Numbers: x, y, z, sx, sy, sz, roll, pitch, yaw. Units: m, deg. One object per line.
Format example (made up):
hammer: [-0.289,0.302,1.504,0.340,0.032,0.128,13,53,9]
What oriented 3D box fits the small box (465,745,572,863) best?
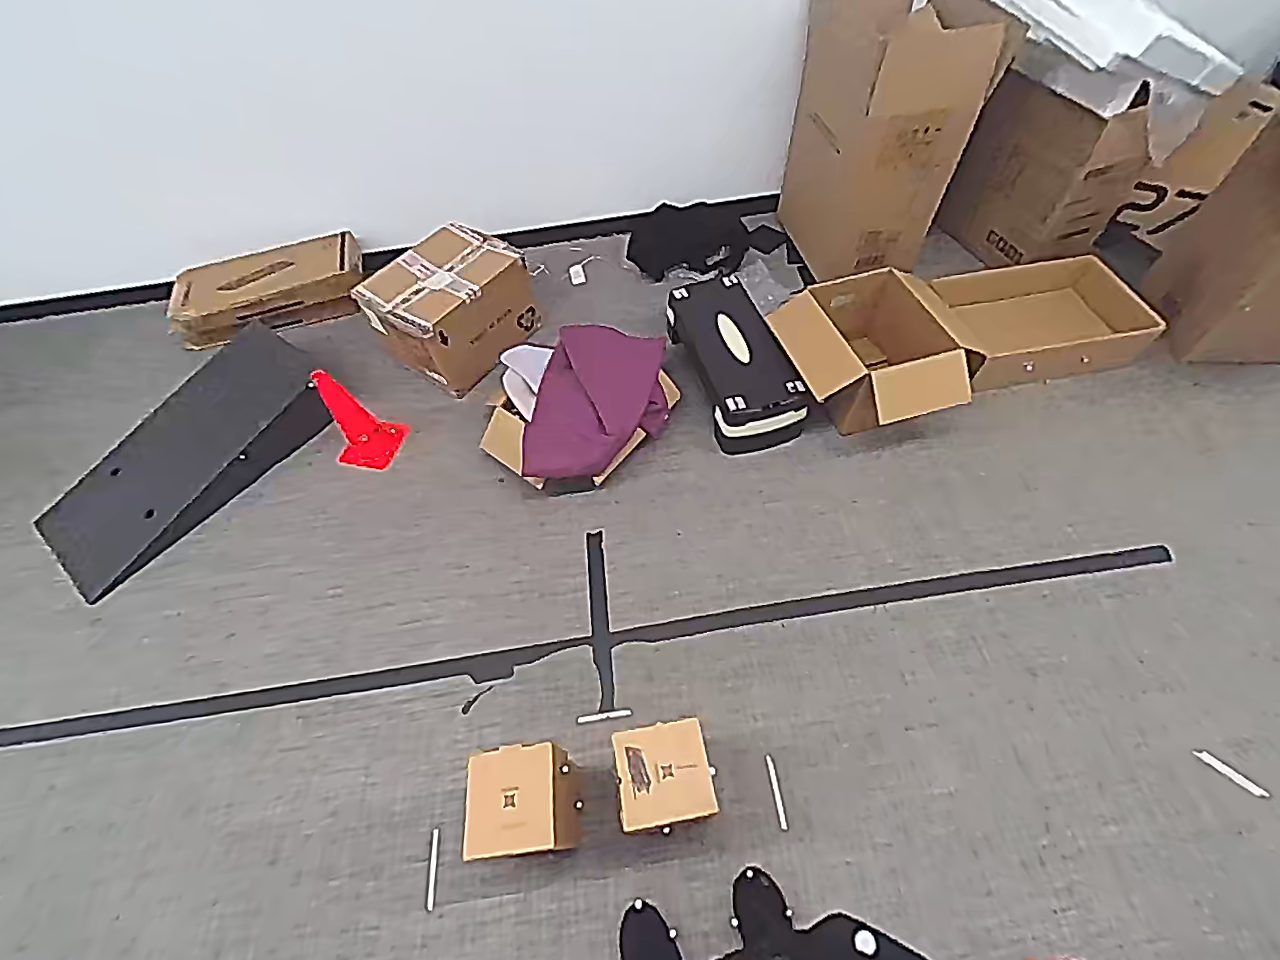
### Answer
small box: [-0.234,0.645,1.076,0.168,0.176,0.179,-9,57,0]

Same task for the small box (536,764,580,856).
small box: [-0.229,0.740,1.208,0.179,0.176,0.168,-7,56,0]

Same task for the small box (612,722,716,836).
small box: [0.047,0.600,1.081,0.179,0.176,0.168,-10,56,-3]
